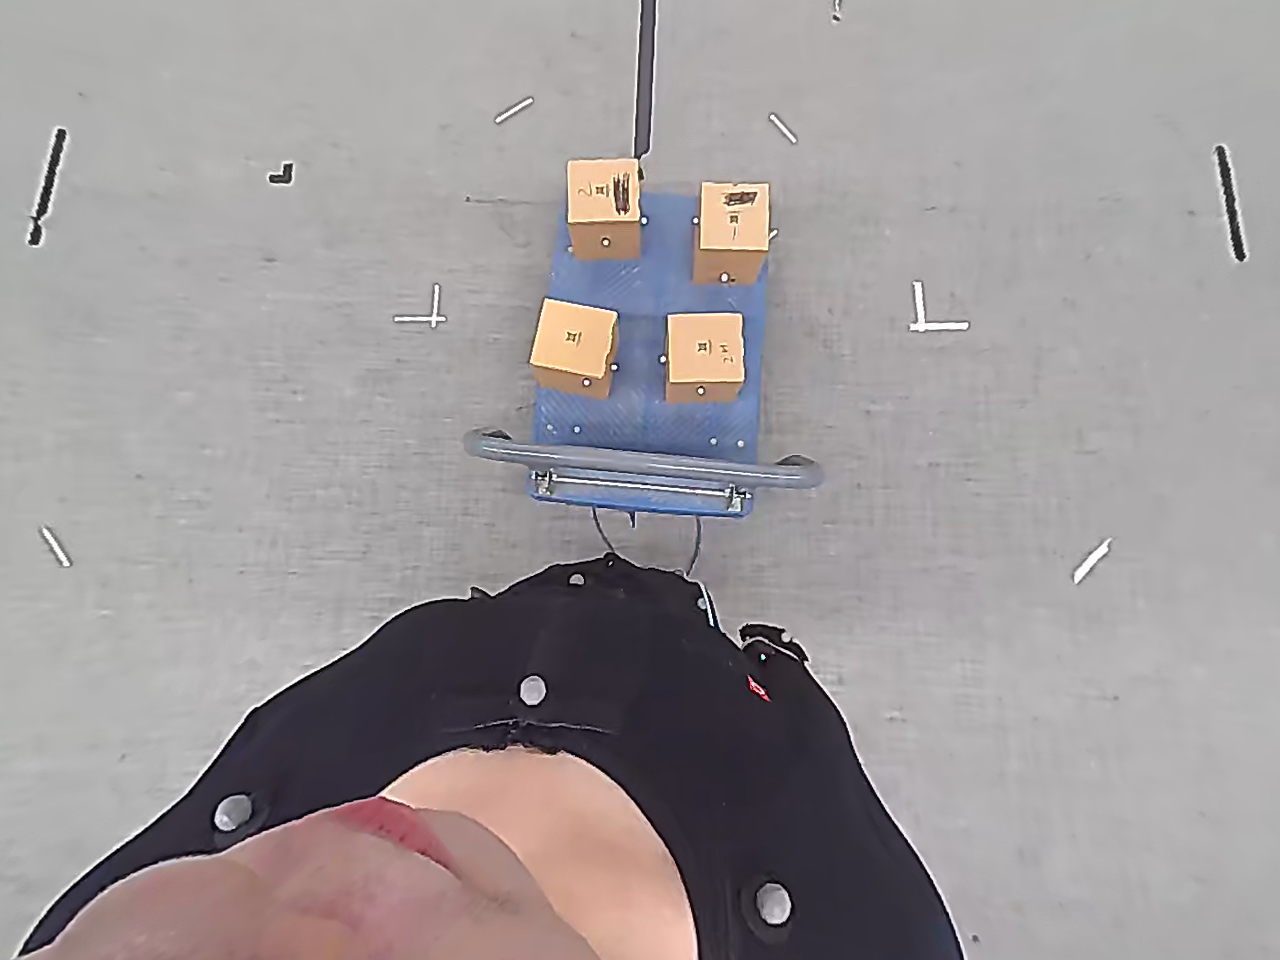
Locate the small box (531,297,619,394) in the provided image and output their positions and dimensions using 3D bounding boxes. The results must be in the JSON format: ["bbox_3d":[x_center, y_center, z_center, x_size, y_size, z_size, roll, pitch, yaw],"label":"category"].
[{"bbox_3d":[-0.153,-0.325,1.338,0.179,0.176,0.168,11,81,0],"label":"small box"}]

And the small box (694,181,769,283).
[{"bbox_3d":[0.227,-0.627,1.379,0.168,0.176,0.179,2,83,1],"label":"small box"}]

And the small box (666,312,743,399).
[{"bbox_3d":[0.152,-0.301,1.332,0.179,0.176,0.168,0,82,0],"label":"small box"}]
